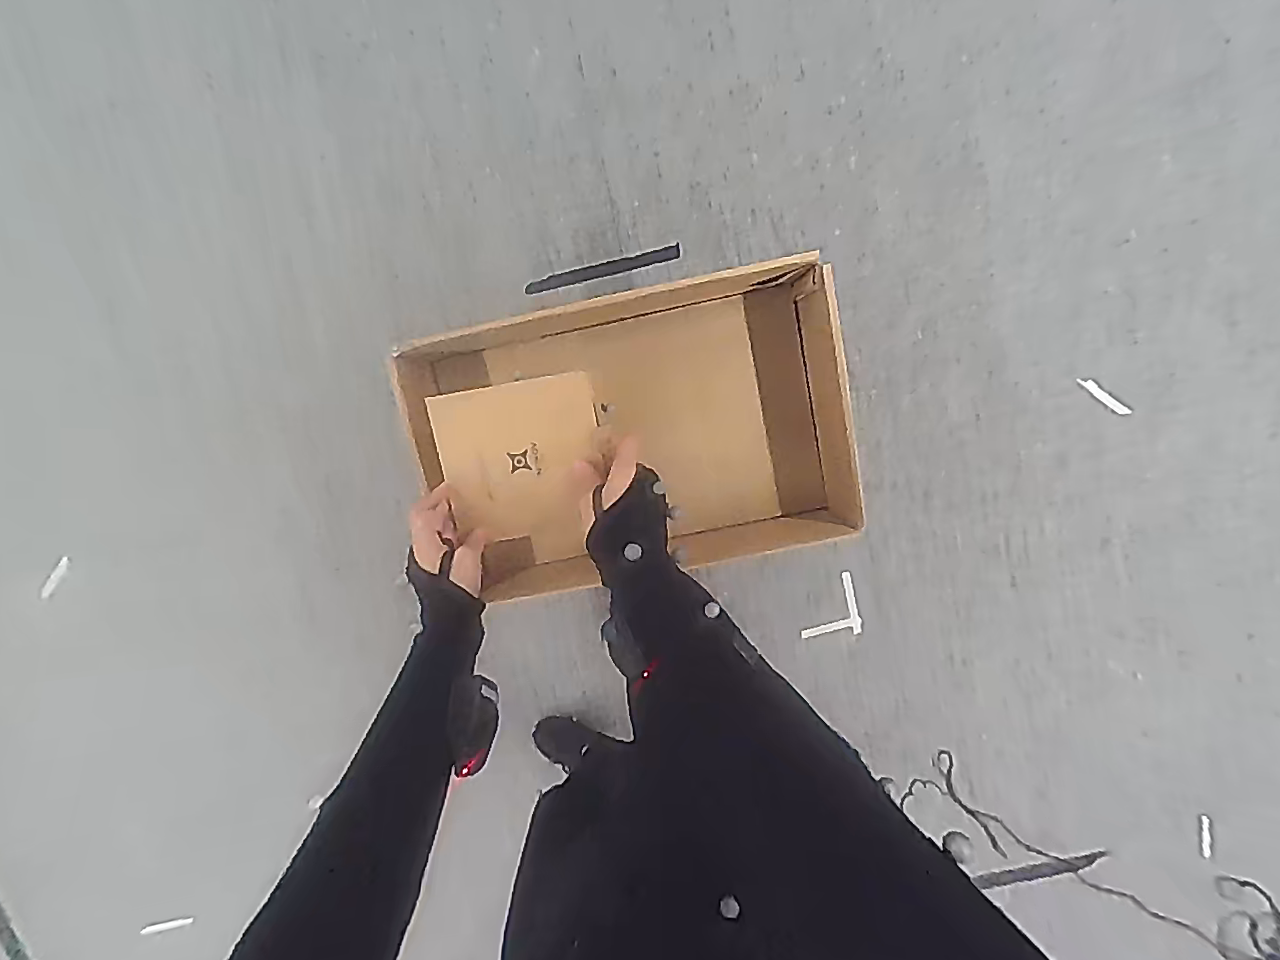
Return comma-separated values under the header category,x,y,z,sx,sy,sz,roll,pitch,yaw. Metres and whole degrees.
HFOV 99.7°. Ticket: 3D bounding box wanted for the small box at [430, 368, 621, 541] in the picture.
category,x,y,z,sx,sy,sz,roll,pitch,yaw
small box,-0.120,-0.040,0.647,0.179,0.176,0.168,-10,100,2
